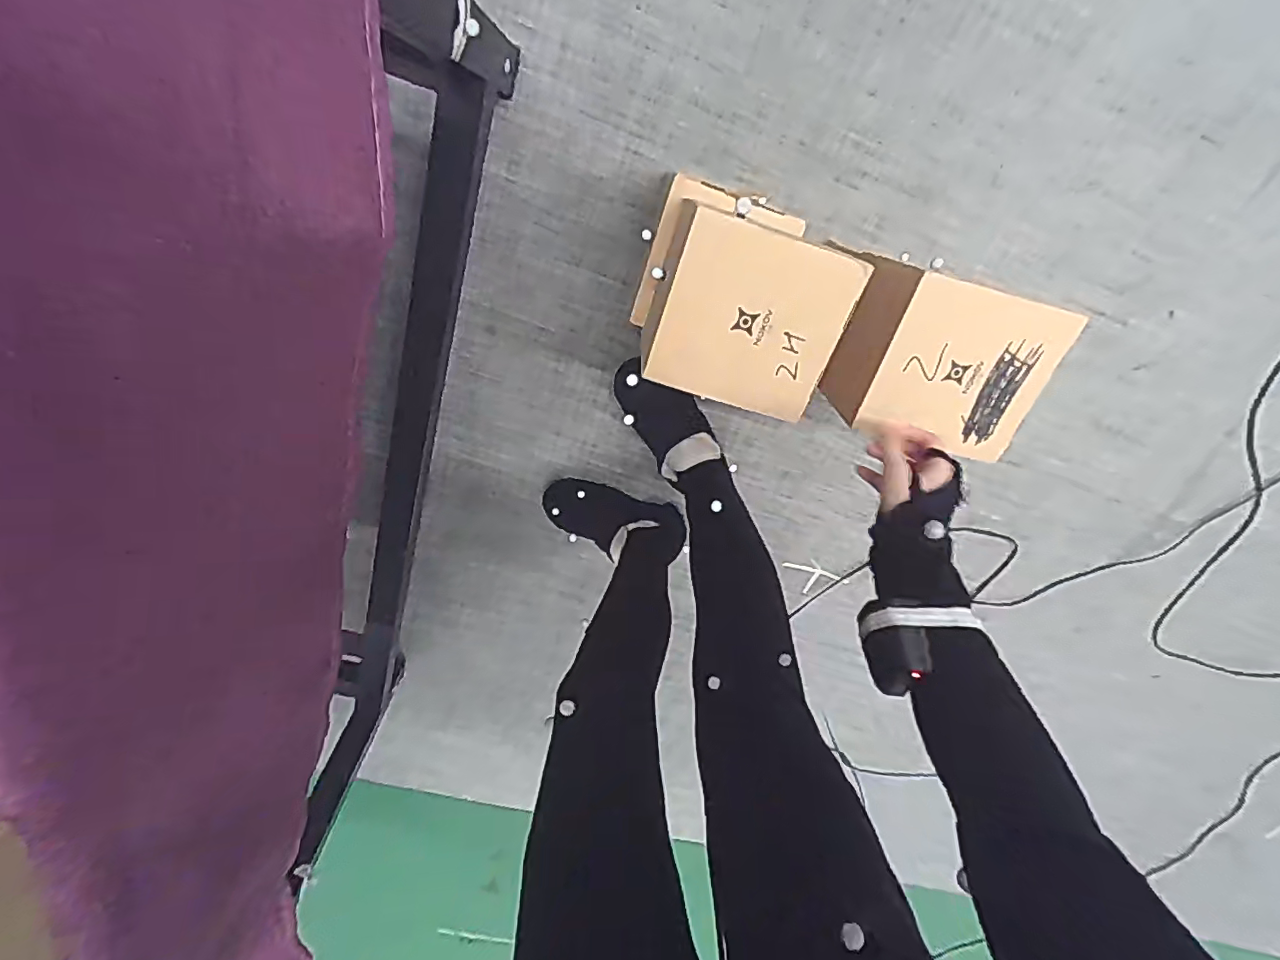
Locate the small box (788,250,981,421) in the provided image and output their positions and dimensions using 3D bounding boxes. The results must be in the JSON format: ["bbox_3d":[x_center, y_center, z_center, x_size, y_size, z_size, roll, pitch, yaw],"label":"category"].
[{"bbox_3d":[0.326,-0.210,0.769,0.168,0.176,0.179,13,118,-7],"label":"small box"}]
